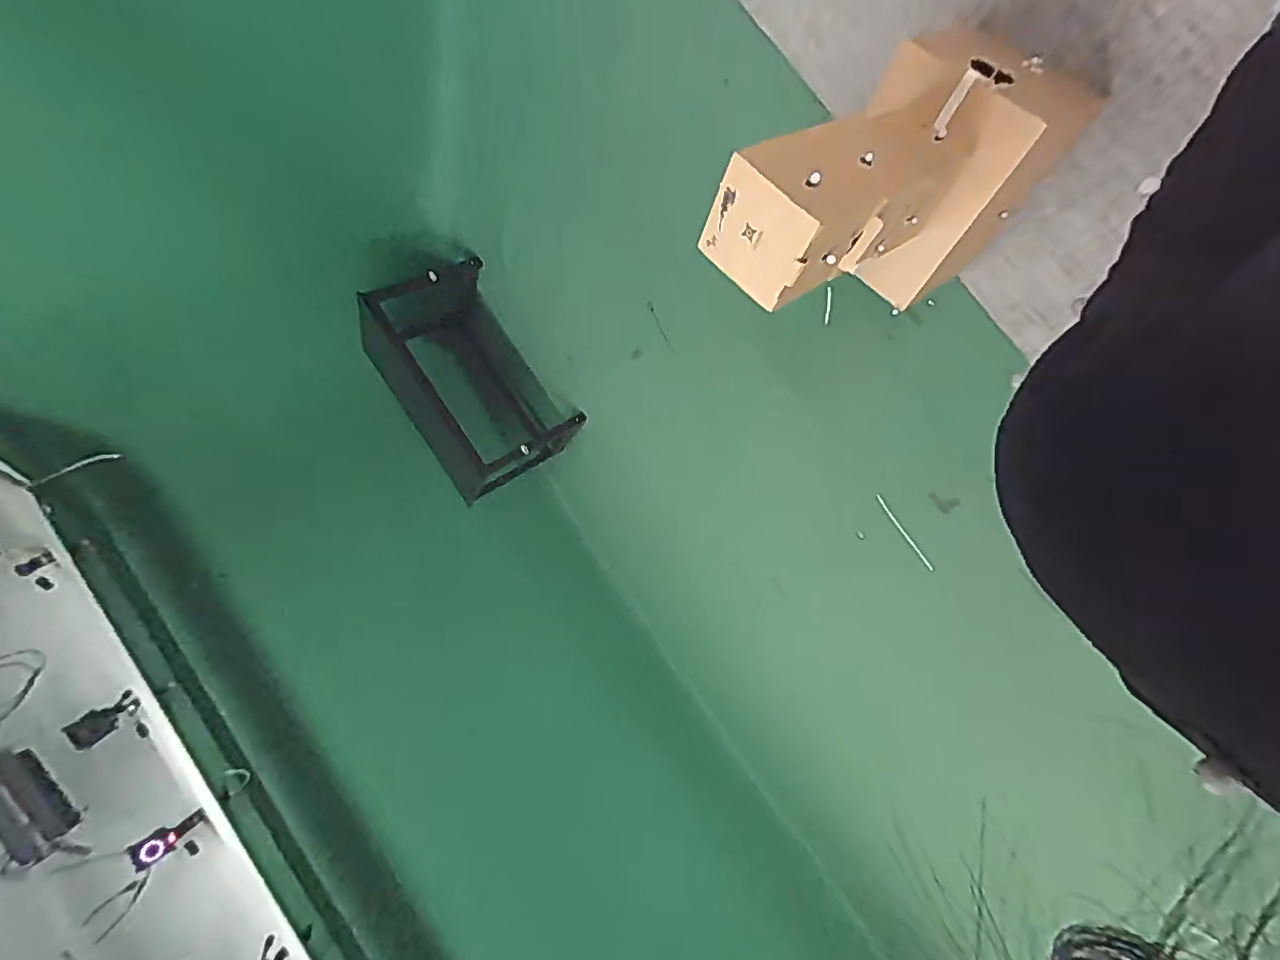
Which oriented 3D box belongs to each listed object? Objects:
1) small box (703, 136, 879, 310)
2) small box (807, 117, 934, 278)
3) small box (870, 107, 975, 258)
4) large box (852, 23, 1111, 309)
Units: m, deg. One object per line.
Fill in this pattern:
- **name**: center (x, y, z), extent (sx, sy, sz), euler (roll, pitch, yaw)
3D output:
- **small box**: center (0.238, -0.412, 0.859), extent (0.179, 0.176, 0.168), euler (47, 150, 13)
- **small box**: center (0.361, -0.491, 0.934), extent (0.179, 0.176, 0.168), euler (49, 150, 12)
- **small box**: center (0.481, -0.562, 1.020), extent (0.168, 0.176, 0.179), euler (48, 150, 14)
- **large box**: center (0.656, -0.664, 1.159), extent (0.320, 0.320, 0.408), euler (48, 151, 18)
